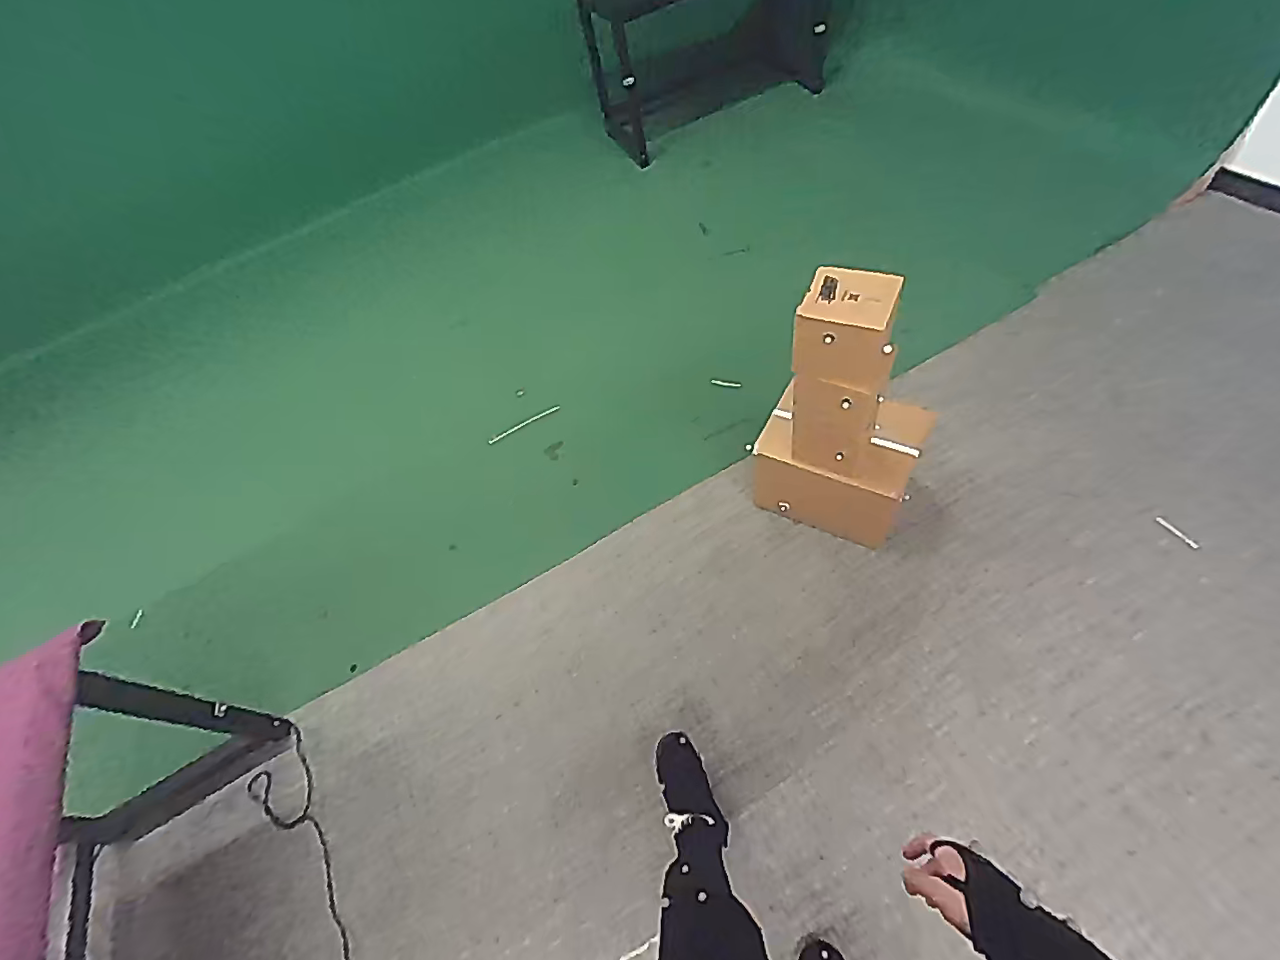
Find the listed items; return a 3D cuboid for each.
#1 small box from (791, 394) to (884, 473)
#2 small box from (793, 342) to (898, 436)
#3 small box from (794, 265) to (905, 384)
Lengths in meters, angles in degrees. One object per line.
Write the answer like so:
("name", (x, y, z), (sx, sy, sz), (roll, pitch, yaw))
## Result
("small box", (0.511, -0.141, 1.417), (0.179, 0.176, 0.168), (22, 64, 25))
("small box", (0.479, -0.230, 1.282), (0.179, 0.176, 0.168), (24, 65, 26))
("small box", (0.439, -0.330, 1.158), (0.179, 0.176, 0.168), (19, 63, 23))
